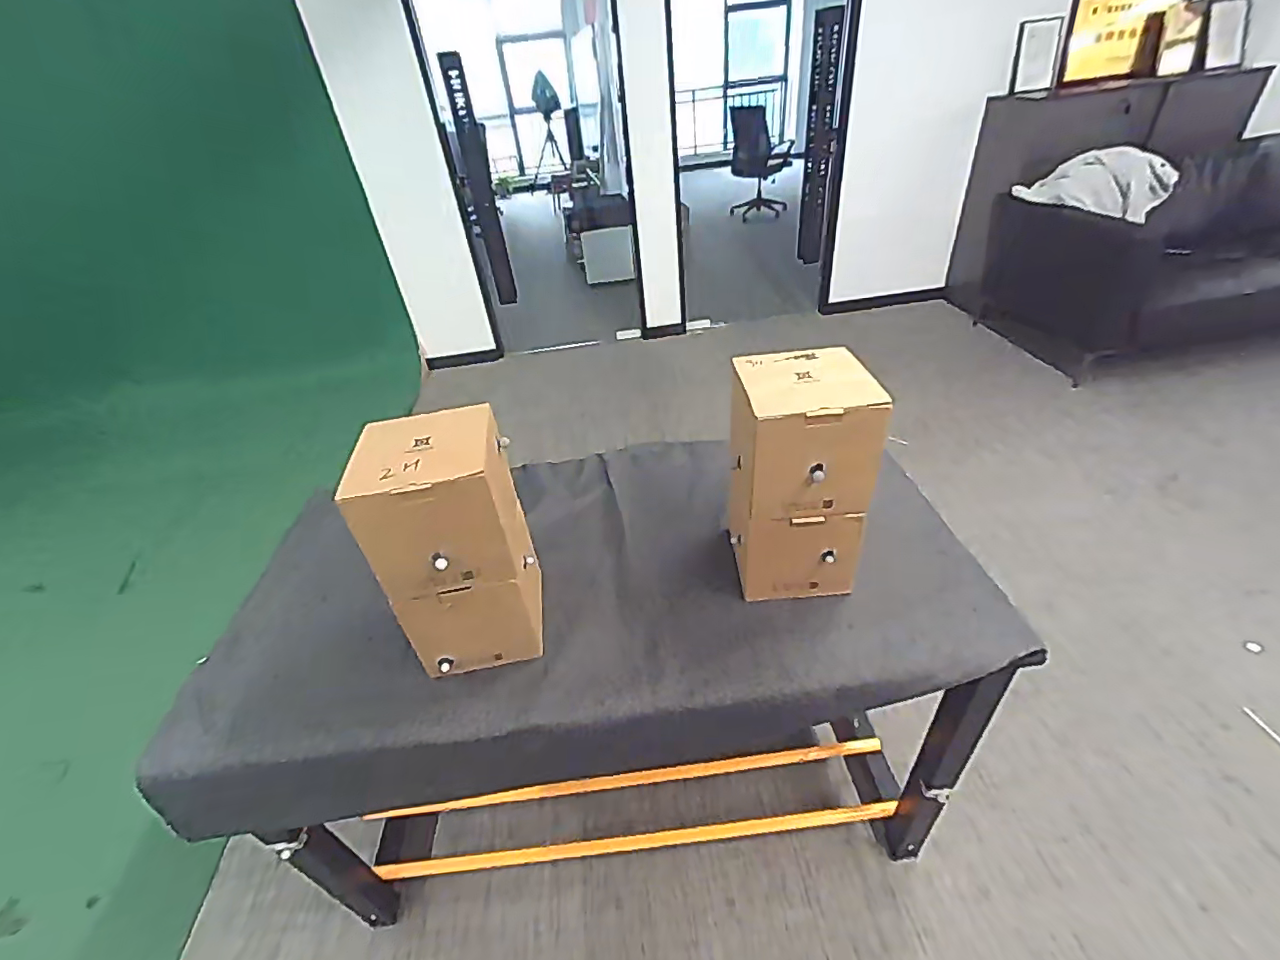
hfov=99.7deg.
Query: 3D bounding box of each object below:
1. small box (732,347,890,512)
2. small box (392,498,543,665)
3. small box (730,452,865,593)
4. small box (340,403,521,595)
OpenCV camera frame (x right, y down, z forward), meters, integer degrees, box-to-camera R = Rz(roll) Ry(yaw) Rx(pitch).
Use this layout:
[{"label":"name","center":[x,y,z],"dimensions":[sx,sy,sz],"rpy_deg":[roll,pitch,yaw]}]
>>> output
[{"label":"small box","center":[0.224,-0.066,0.756],"dimensions":[0.168,0.176,0.179],"rpy_deg":[-5,37,2]},{"label":"small box","center":[-0.241,0.154,0.808],"dimensions":[0.168,0.176,0.179],"rpy_deg":[-9,36,-4]},{"label":"small box","center":[0.235,0.065,0.853],"dimensions":[0.168,0.176,0.179],"rpy_deg":[-4,36,2]},{"label":"small box","center":[-0.257,0.022,0.711],"dimensions":[0.168,0.176,0.179],"rpy_deg":[-11,37,-5]}]
